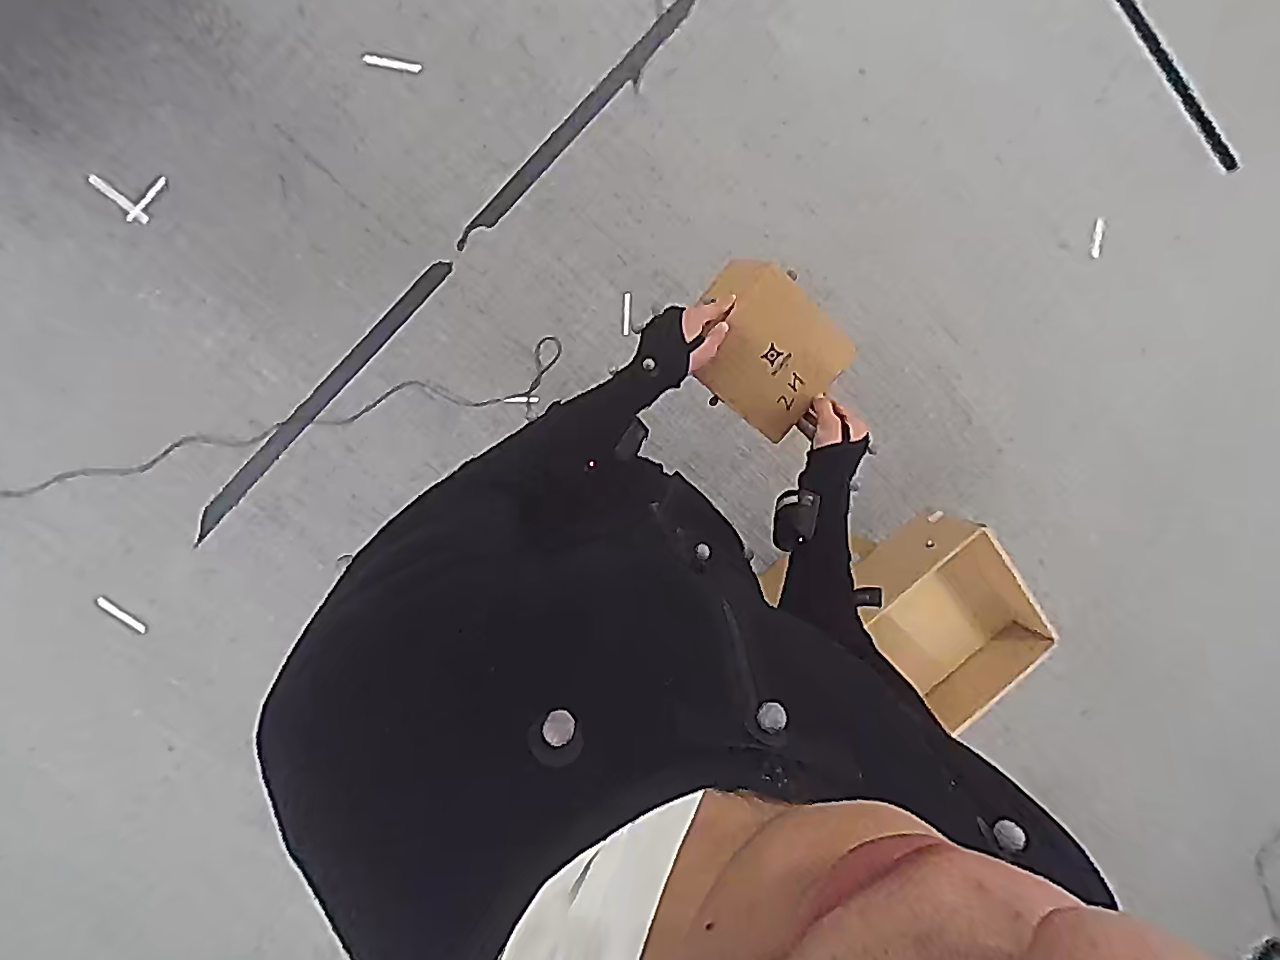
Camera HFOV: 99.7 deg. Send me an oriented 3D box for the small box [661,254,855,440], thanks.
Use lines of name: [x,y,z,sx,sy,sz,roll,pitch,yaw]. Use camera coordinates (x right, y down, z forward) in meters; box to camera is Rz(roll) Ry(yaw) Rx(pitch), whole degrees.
small box: [0.150,-0.188,0.752,0.179,0.176,0.168,35,104,-22]
